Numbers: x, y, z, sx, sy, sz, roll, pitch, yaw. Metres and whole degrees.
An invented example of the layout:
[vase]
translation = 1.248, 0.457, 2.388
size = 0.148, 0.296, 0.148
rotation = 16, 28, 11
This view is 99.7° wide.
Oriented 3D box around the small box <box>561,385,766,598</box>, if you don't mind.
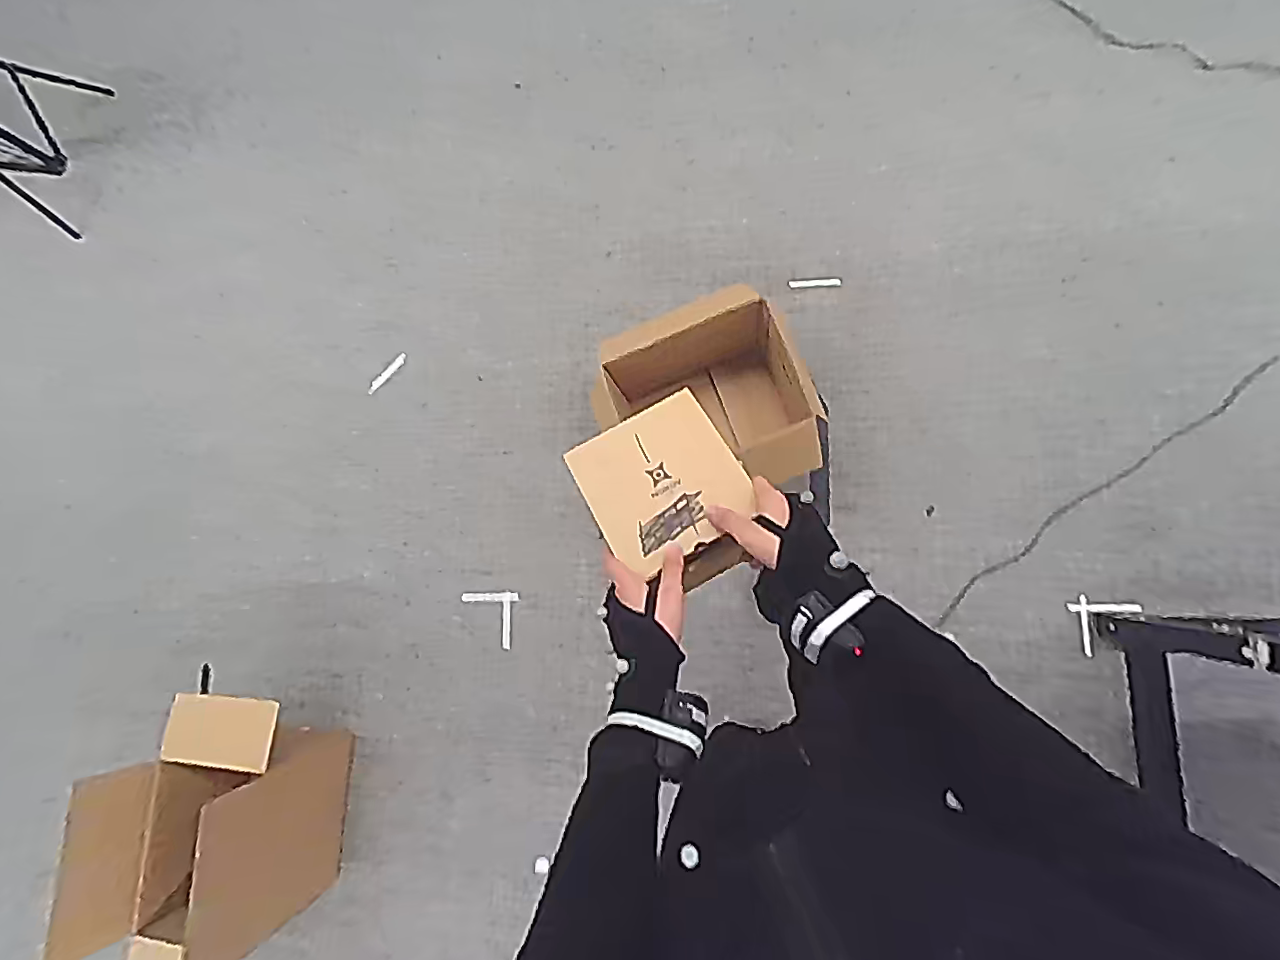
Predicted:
[small box]
translation = 0.033, 0.027, 0.650
size = 0.168, 0.176, 0.179
rotation = -29, 66, -4
